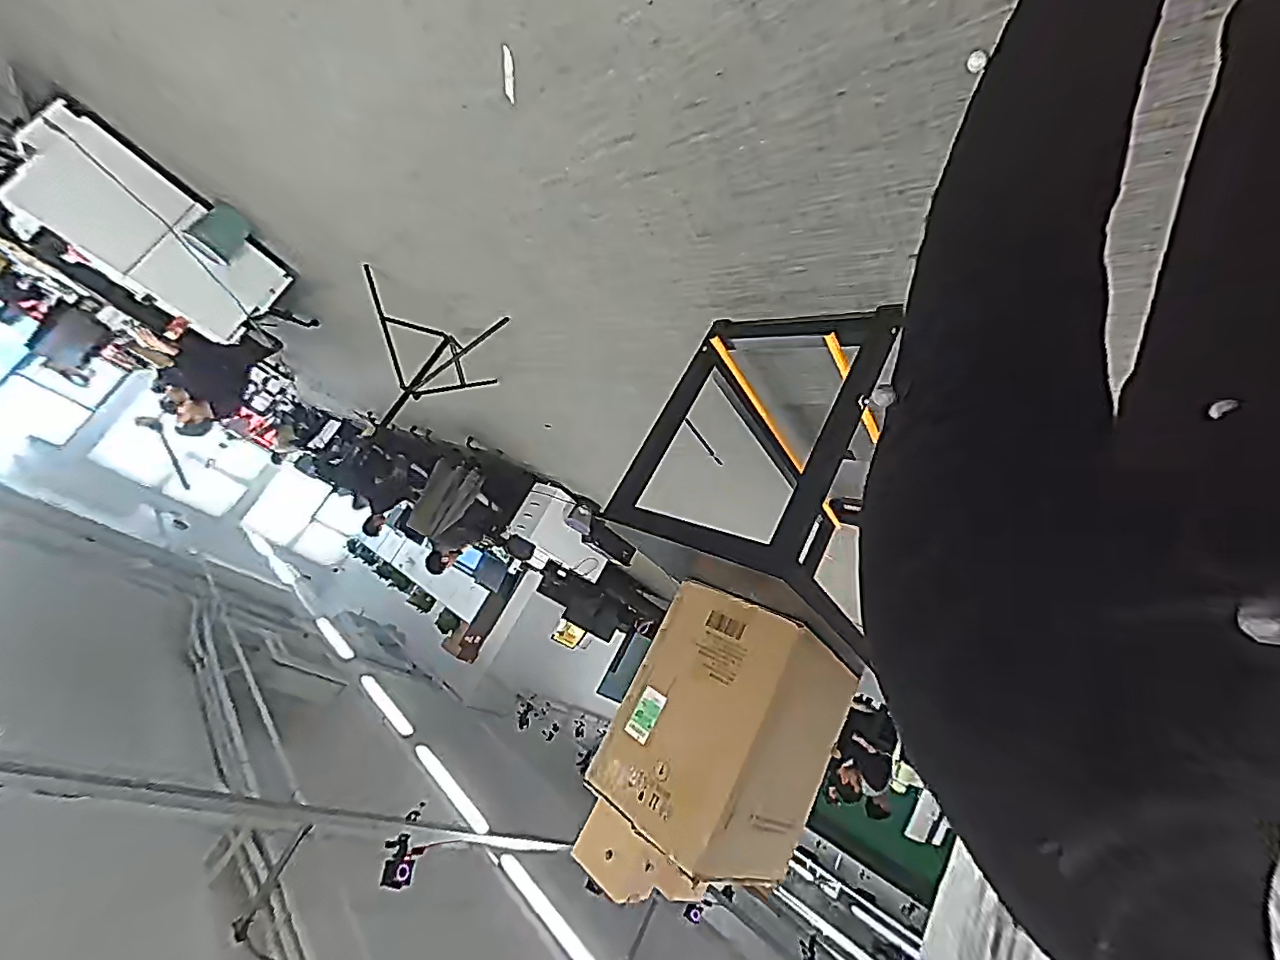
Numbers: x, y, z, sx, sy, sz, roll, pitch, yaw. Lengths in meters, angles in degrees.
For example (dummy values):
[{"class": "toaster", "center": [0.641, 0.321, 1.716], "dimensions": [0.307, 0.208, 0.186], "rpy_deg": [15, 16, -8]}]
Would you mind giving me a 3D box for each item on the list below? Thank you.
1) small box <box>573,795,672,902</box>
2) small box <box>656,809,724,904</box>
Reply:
[{"class": "small box", "center": [-0.037, 0.974, 1.440], "dimensions": [0.179, 0.176, 0.168], "rpy_deg": [17, 161, 42]}, {"class": "small box", "center": [0.122, 1.121, 1.616], "dimensions": [0.168, 0.176, 0.179], "rpy_deg": [15, 157, 45]}]
